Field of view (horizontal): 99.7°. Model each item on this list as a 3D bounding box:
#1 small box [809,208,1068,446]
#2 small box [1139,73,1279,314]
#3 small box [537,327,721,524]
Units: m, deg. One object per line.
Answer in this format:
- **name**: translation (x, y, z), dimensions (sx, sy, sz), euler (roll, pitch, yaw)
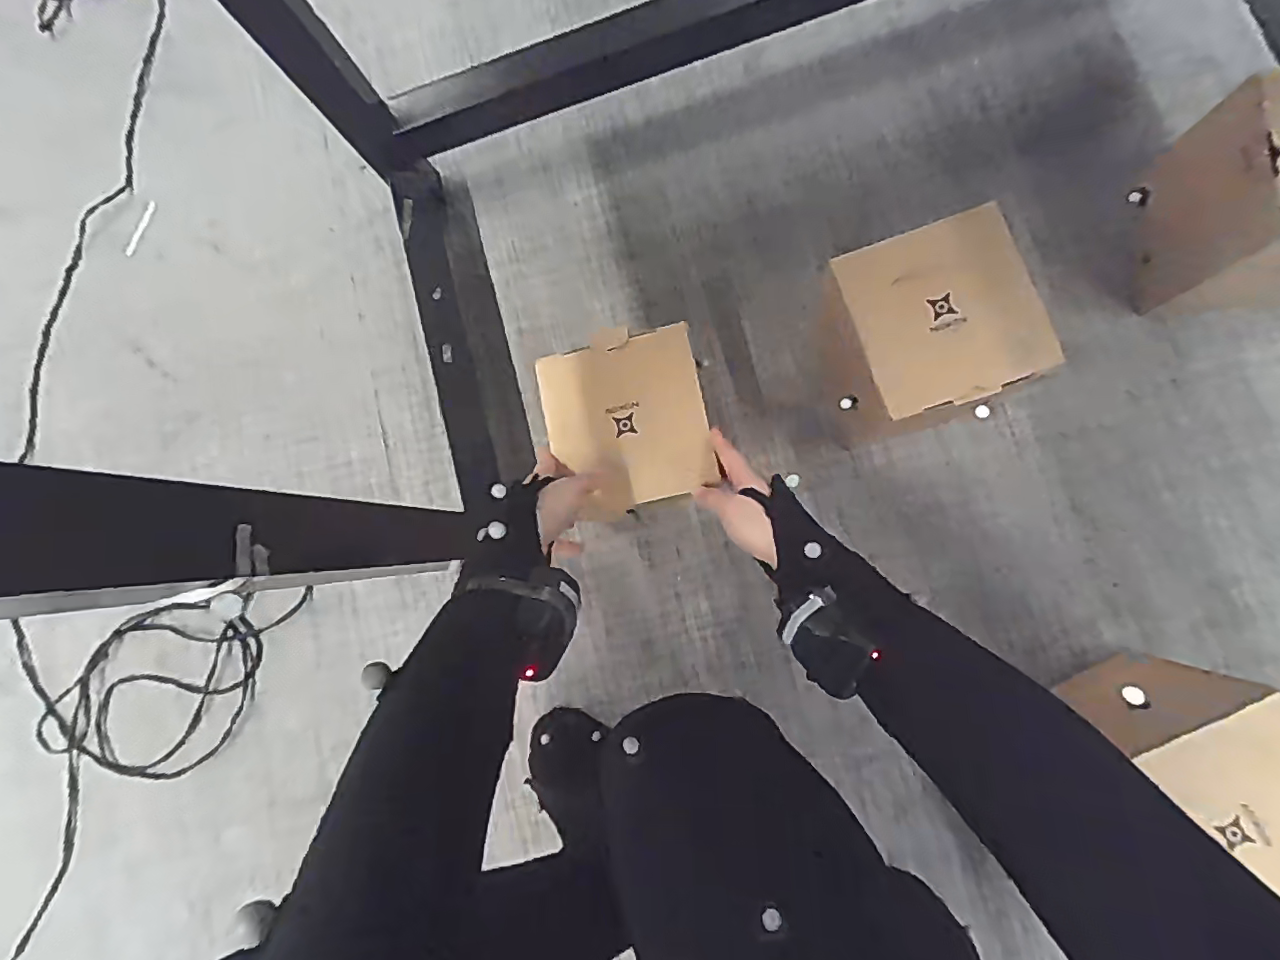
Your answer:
- **small box**: translation (0.299, -0.145, 0.587), dimensions (0.168, 0.176, 0.179), euler (-18, 80, 5)
- **small box**: translation (0.661, -0.281, 0.550), dimensions (0.179, 0.176, 0.168), euler (-3, 84, 7)
- **small box**: translation (-0.002, -0.047, 0.622), dimensions (0.168, 0.176, 0.179), euler (-12, 81, 7)
